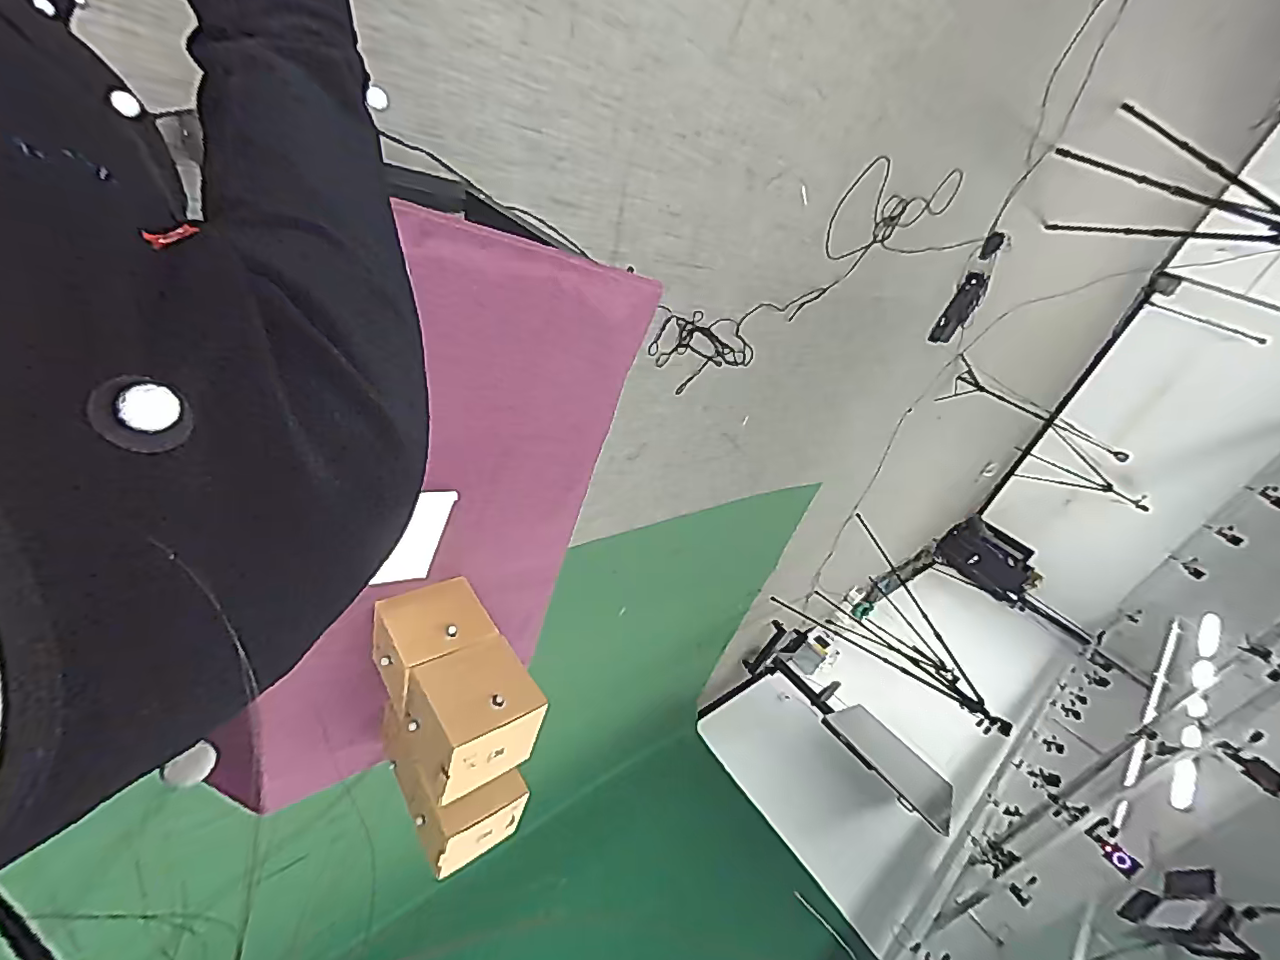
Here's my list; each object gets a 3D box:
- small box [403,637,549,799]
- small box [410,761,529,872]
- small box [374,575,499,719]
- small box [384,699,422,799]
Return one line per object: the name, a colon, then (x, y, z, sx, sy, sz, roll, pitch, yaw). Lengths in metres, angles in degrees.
small box: (-0.294, 0.408, 0.958, 0.179, 0.176, 0.168, -9, 131, -43)
small box: (-0.363, 0.656, 1.133, 0.179, 0.176, 0.168, -9, 131, -42)
small box: (-0.399, 0.313, 1.044, 0.179, 0.176, 0.168, -13, 133, -41)
small box: (-0.464, 0.568, 1.228, 0.179, 0.176, 0.168, -10, 131, -43)
